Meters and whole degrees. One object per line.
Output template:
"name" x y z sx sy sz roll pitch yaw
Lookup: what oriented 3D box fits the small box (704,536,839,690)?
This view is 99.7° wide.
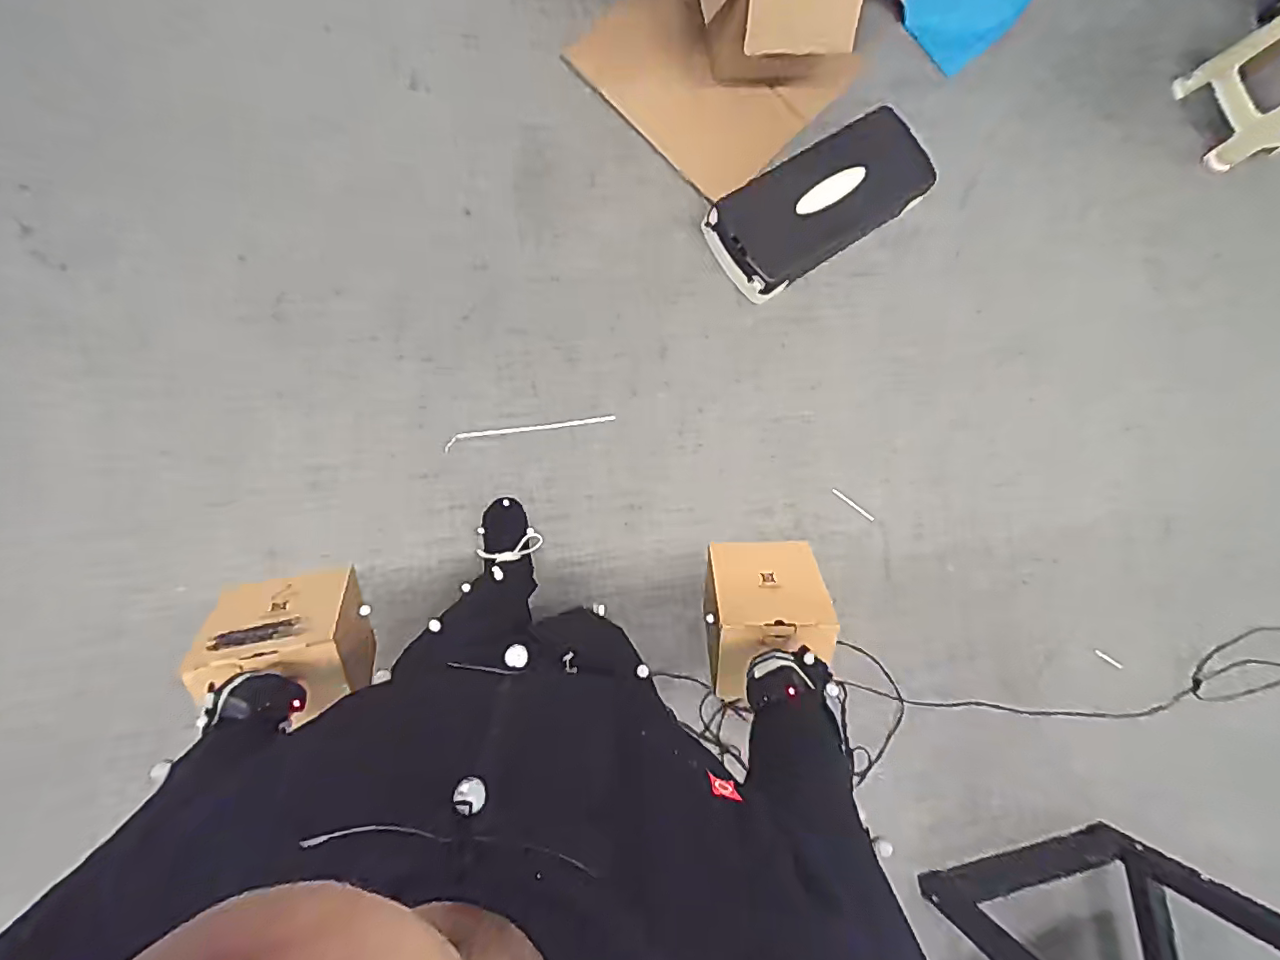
"small box" 0.195 0.209 0.863 0.168 0.179 0.176 -1 126 0
